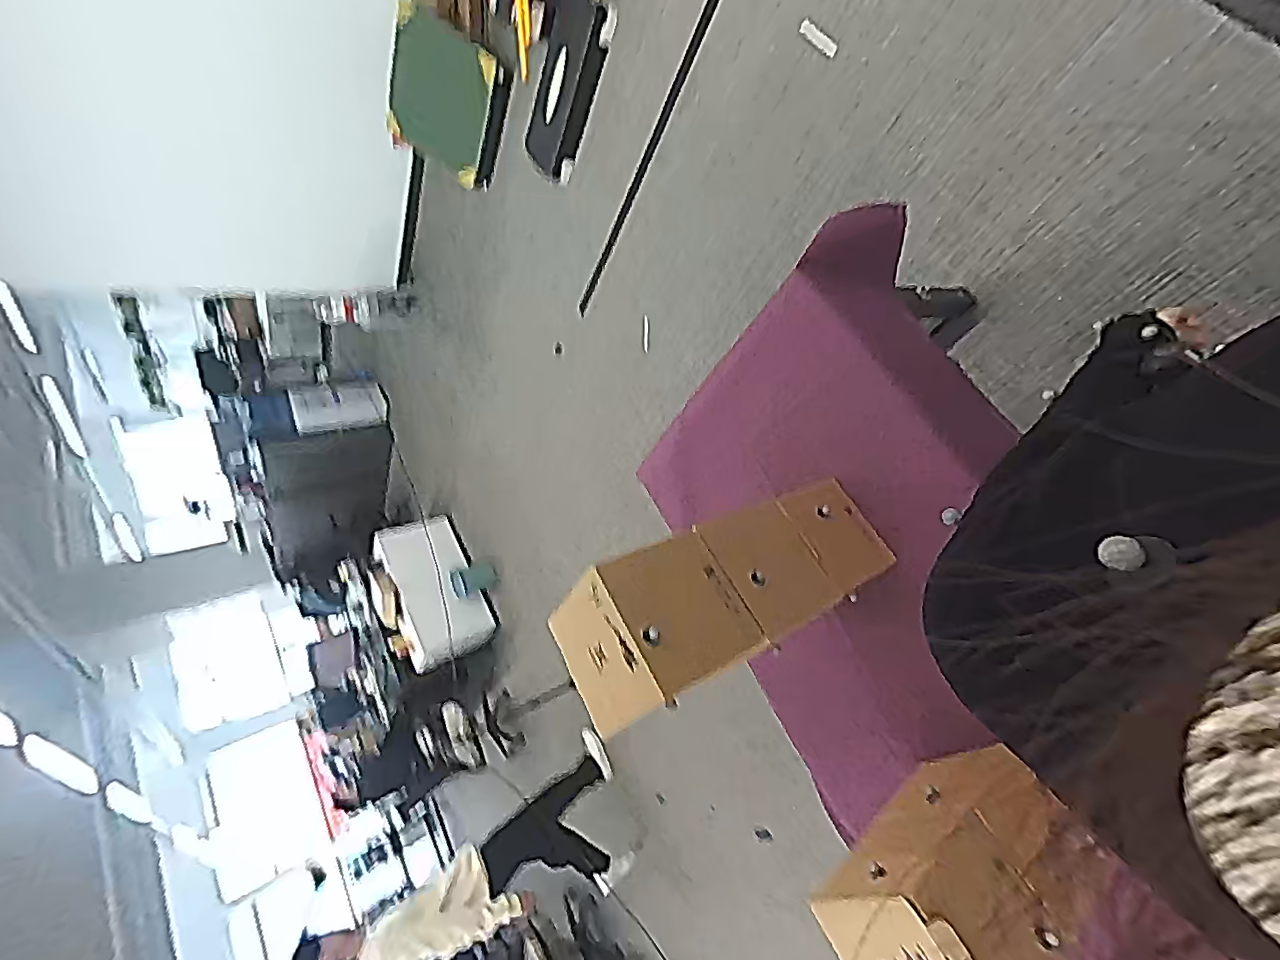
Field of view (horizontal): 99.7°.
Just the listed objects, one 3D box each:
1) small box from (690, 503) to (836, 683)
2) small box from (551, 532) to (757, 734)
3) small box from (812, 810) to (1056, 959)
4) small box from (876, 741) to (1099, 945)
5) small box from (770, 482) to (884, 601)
[{"bbox_3d":[0.145,0.158,0.785,0.179,0.176,0.168,58,139,21],"label":"small box"},{"bbox_3d":[0.015,0.191,0.691,0.168,0.176,0.179,58,140,20],"label":"small box"},{"bbox_3d":[0.355,0.532,0.653,0.168,0.176,0.179,57,139,22],"label":"small box"},{"bbox_3d":[0.480,0.497,0.753,0.168,0.176,0.179,58,139,21],"label":"small box"},{"bbox_3d":[0.268,0.124,0.888,0.168,0.176,0.179,59,140,20],"label":"small box"}]
